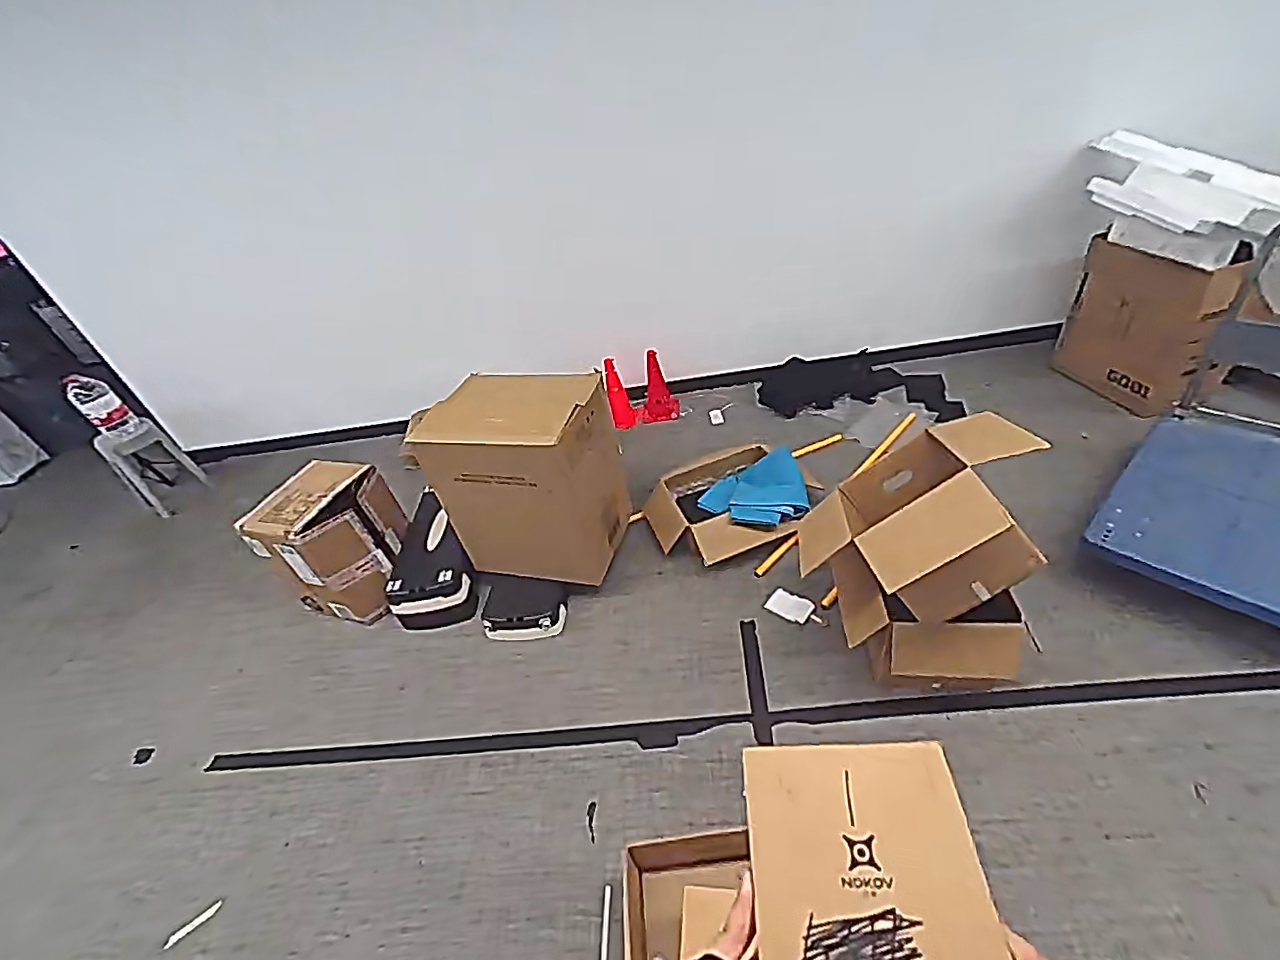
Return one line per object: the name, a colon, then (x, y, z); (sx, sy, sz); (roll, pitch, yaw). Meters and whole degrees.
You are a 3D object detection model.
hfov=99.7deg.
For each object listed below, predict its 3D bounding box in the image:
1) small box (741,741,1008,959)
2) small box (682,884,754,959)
small box: (0.179, 0.341, 0.452); (0.168, 0.176, 0.179); (-6, 43, 10)
small box: (0.172, 0.937, 1.068); (0.168, 0.176, 0.179); (-2, 39, 11)
